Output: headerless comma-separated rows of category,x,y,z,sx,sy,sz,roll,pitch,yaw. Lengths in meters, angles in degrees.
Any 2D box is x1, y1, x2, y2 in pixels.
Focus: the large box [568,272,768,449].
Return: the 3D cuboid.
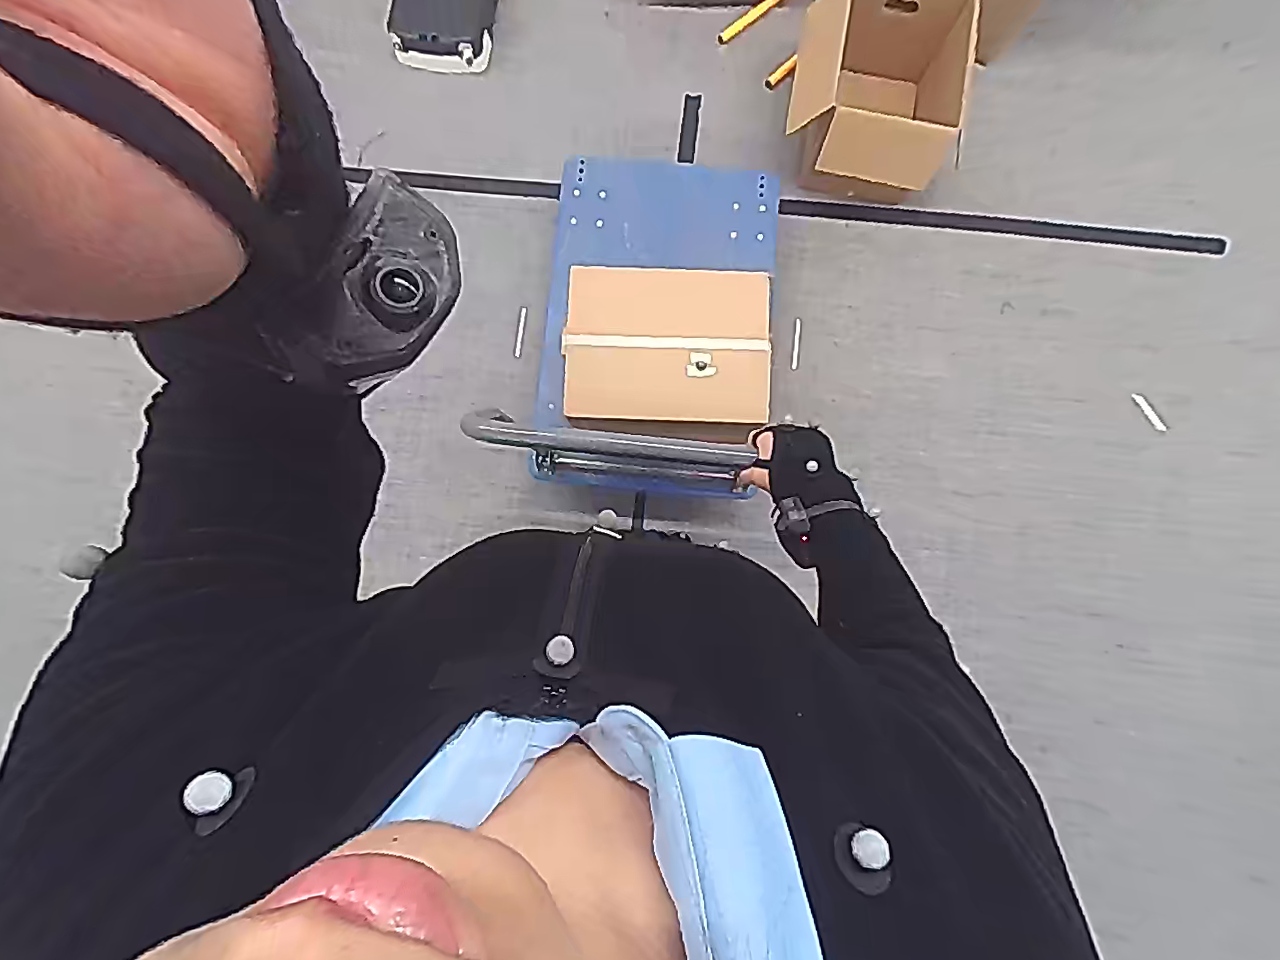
large box,0.053,-0.248,1.228,0.408,0.320,0.320,2,84,-1
